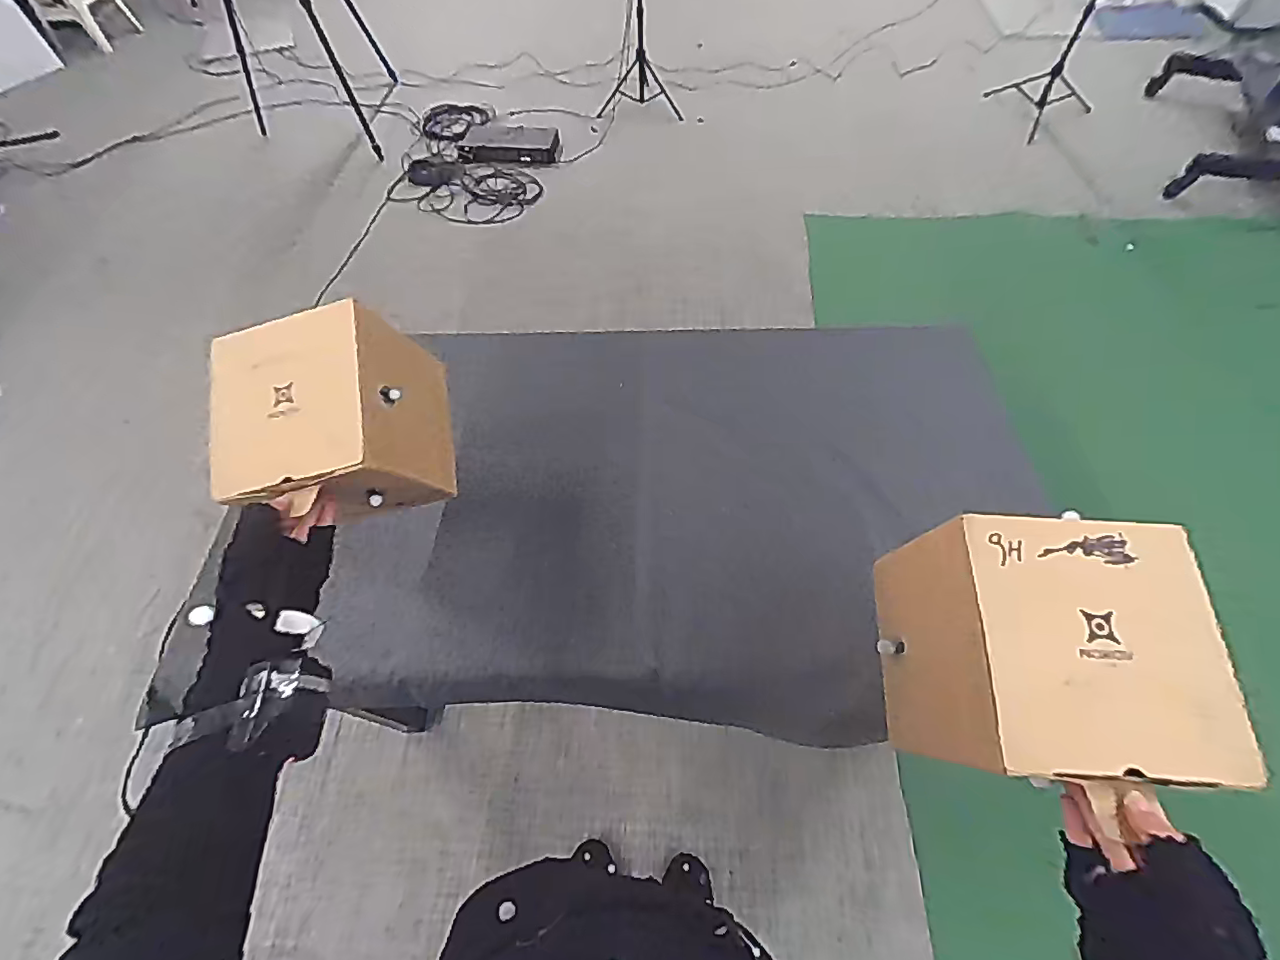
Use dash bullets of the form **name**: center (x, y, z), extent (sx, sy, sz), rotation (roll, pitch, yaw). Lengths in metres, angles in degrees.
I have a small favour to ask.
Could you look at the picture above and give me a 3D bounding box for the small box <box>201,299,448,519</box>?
- **small box**: center (-0.327, -0.060, 0.588), extent (0.168, 0.176, 0.179), rotation (-13, 76, 7)
